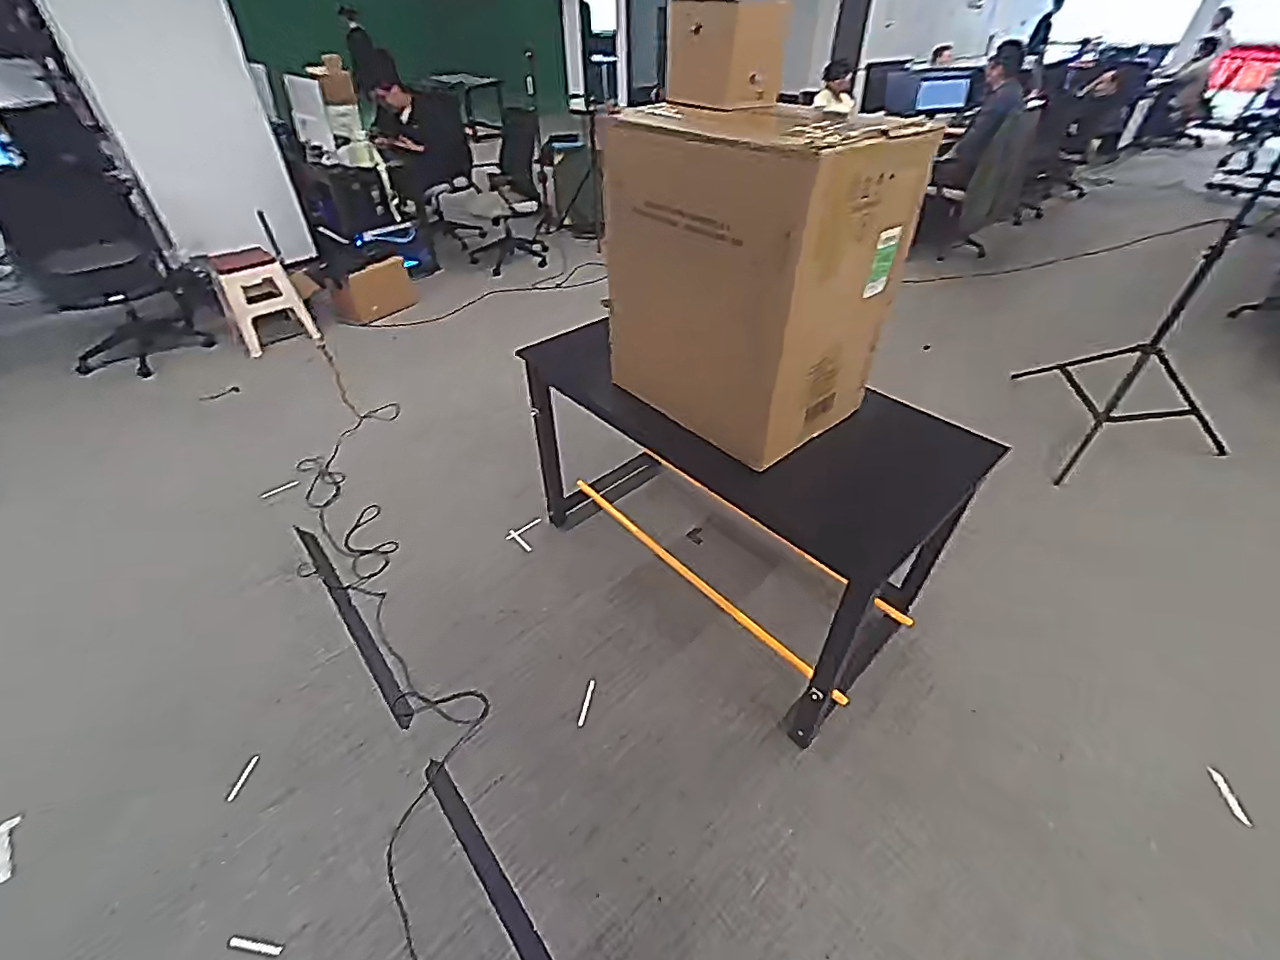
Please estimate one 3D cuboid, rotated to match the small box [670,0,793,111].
[{"bbox_3d":[0.176,-0.861,1.098,0.168,0.176,0.179,-30,51,-32],"label":"small box"}]
